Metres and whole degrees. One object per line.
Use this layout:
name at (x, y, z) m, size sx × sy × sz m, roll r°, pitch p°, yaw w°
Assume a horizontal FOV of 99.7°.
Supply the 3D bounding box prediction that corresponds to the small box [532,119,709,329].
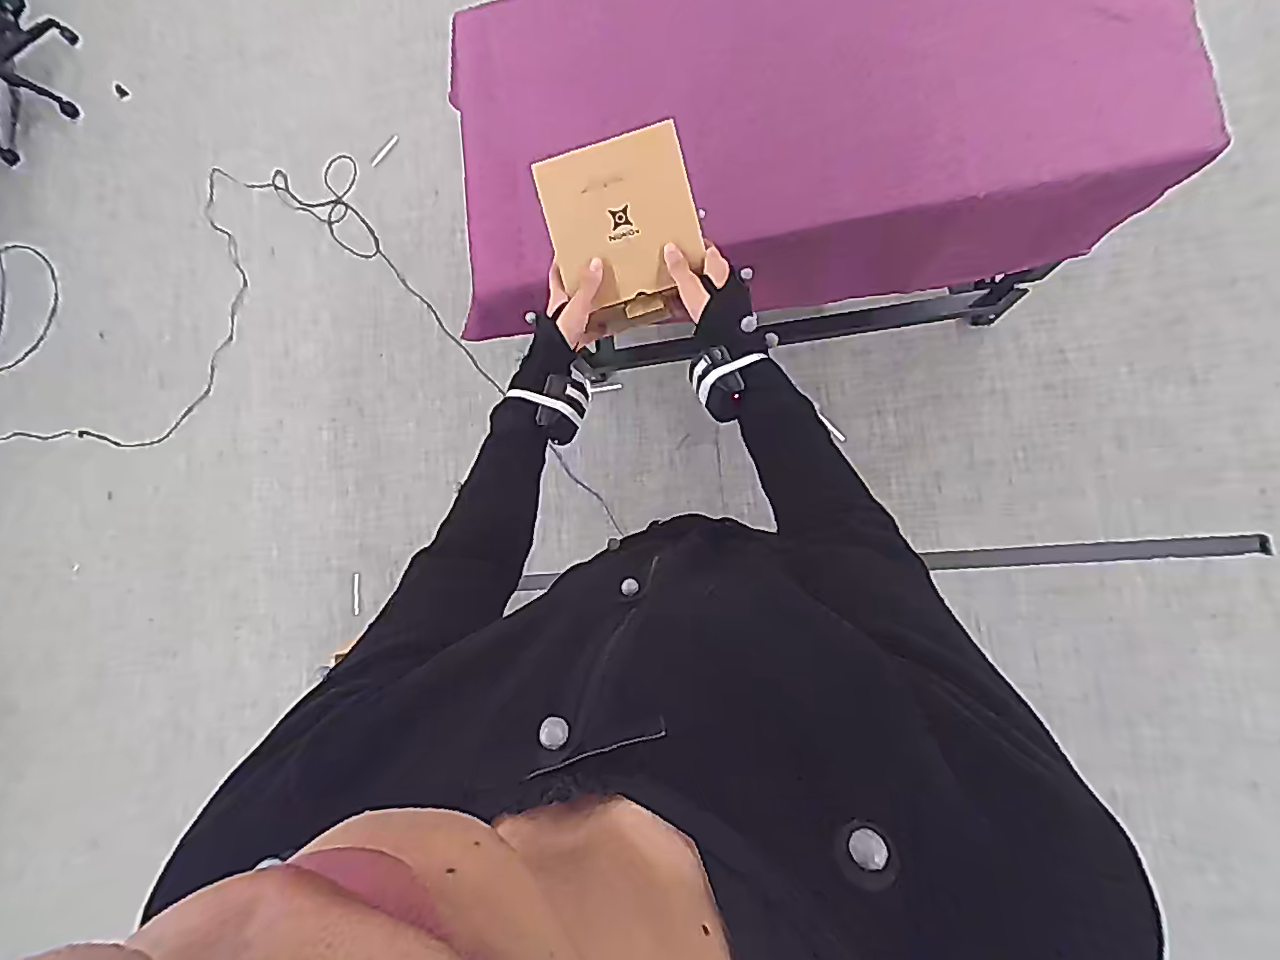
small box at (-0.015, -0.297, 0.677) m, size 0.168 × 0.176 × 0.179 m, roll -15°, pitch 95°, yaw 5°
